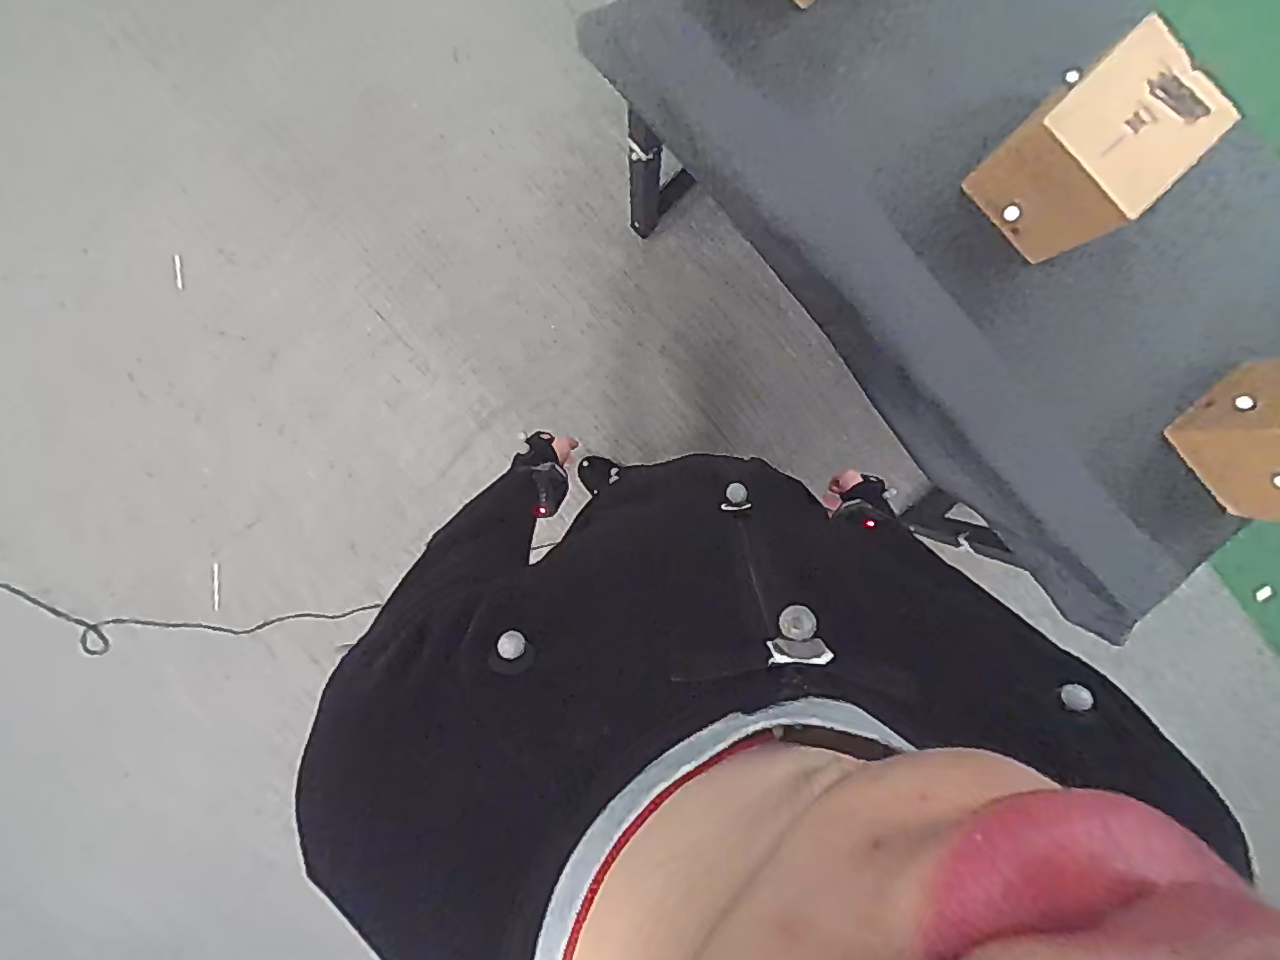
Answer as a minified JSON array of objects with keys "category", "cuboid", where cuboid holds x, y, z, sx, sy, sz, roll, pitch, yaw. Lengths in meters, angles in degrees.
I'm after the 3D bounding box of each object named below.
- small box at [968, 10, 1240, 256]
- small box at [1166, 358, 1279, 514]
[{"category":"small box","cuboid":[0.588,-0.435,0.712,0.179,0.176,0.168,-44,94,4]},{"category":"small box","cuboid":[0.907,-0.061,0.746,0.168,0.176,0.179,-41,95,4]}]
